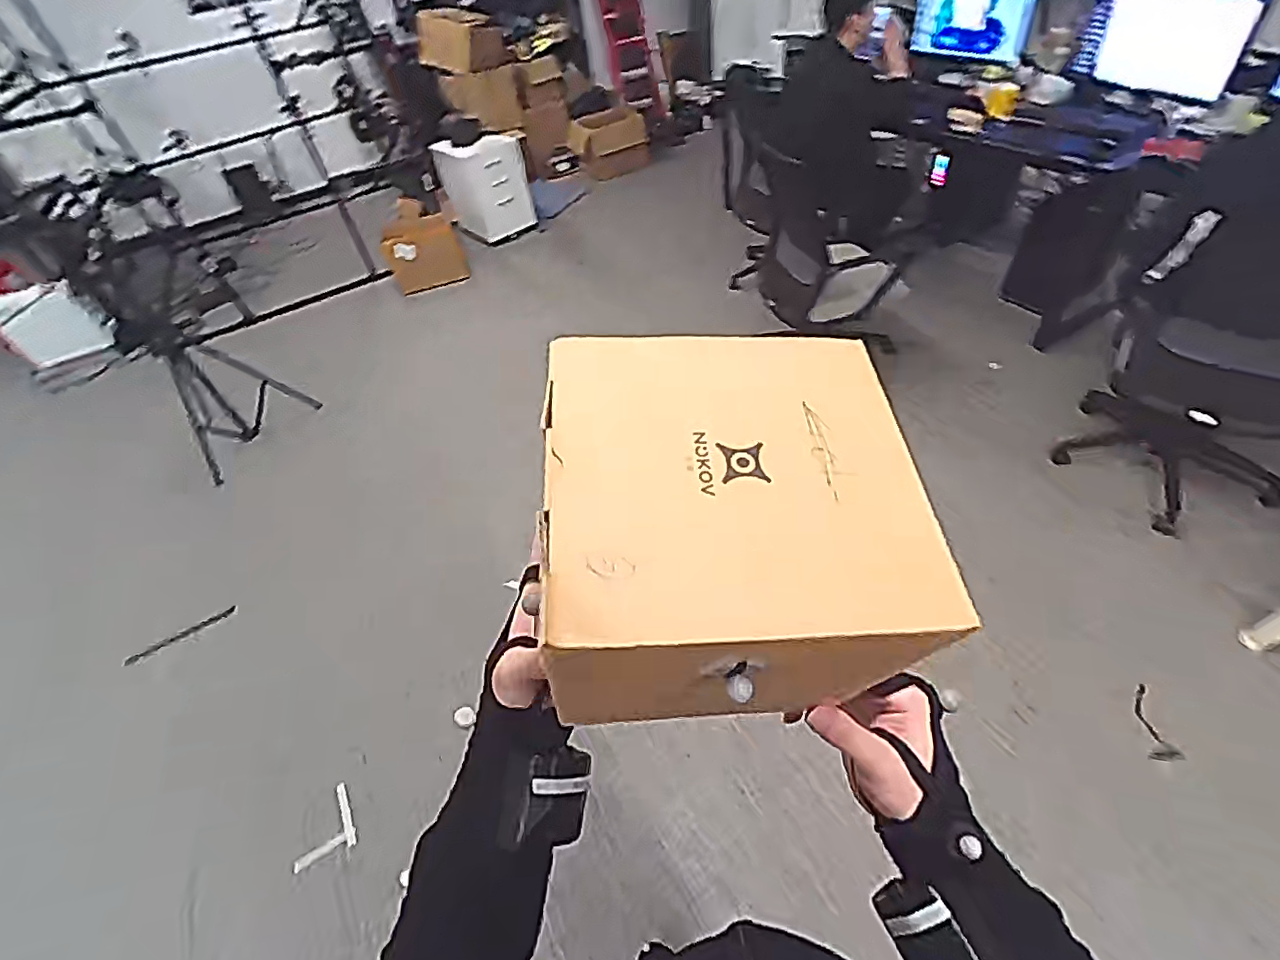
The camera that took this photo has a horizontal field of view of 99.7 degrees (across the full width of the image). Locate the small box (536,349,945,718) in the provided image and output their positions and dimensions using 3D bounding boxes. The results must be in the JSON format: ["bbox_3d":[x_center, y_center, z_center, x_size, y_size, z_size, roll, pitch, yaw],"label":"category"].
[{"bbox_3d":[0.033,0.040,0.330,0.179,0.176,0.168,-1,58,-7],"label":"small box"}]
